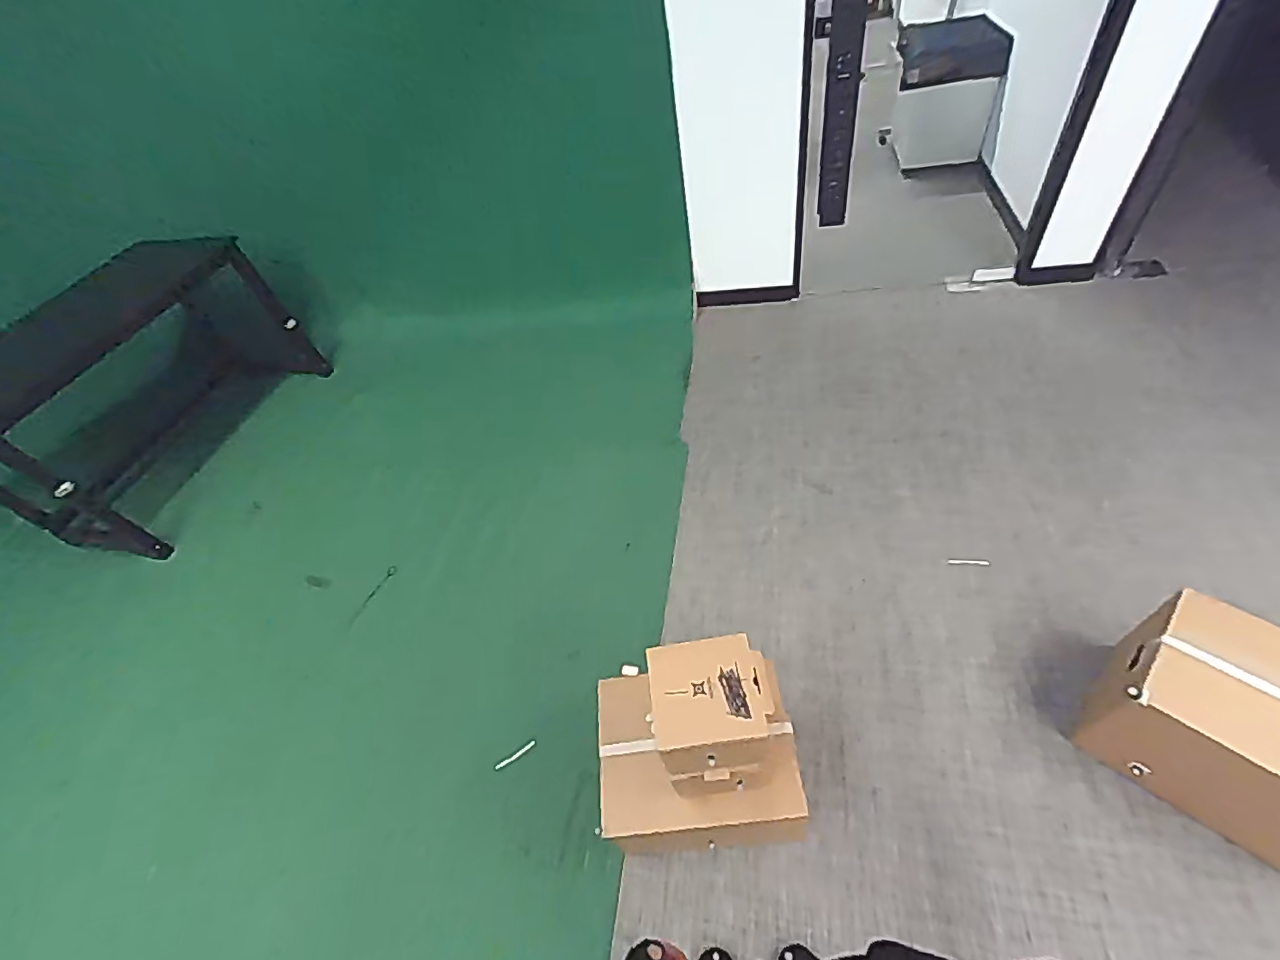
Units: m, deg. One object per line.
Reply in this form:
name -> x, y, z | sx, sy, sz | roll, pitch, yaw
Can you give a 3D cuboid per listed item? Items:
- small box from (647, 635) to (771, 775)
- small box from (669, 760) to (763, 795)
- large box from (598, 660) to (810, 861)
small box -> 0.115, 0.384, 0.916 | 0.179, 0.176, 0.168 | -10, 49, 4
small box -> 0.140, 0.492, 1.037 | 0.168, 0.176, 0.179 | -9, 49, 5
large box -> 0.141, 0.647, 1.231 | 0.408, 0.320, 0.320 | -11, 47, 6
